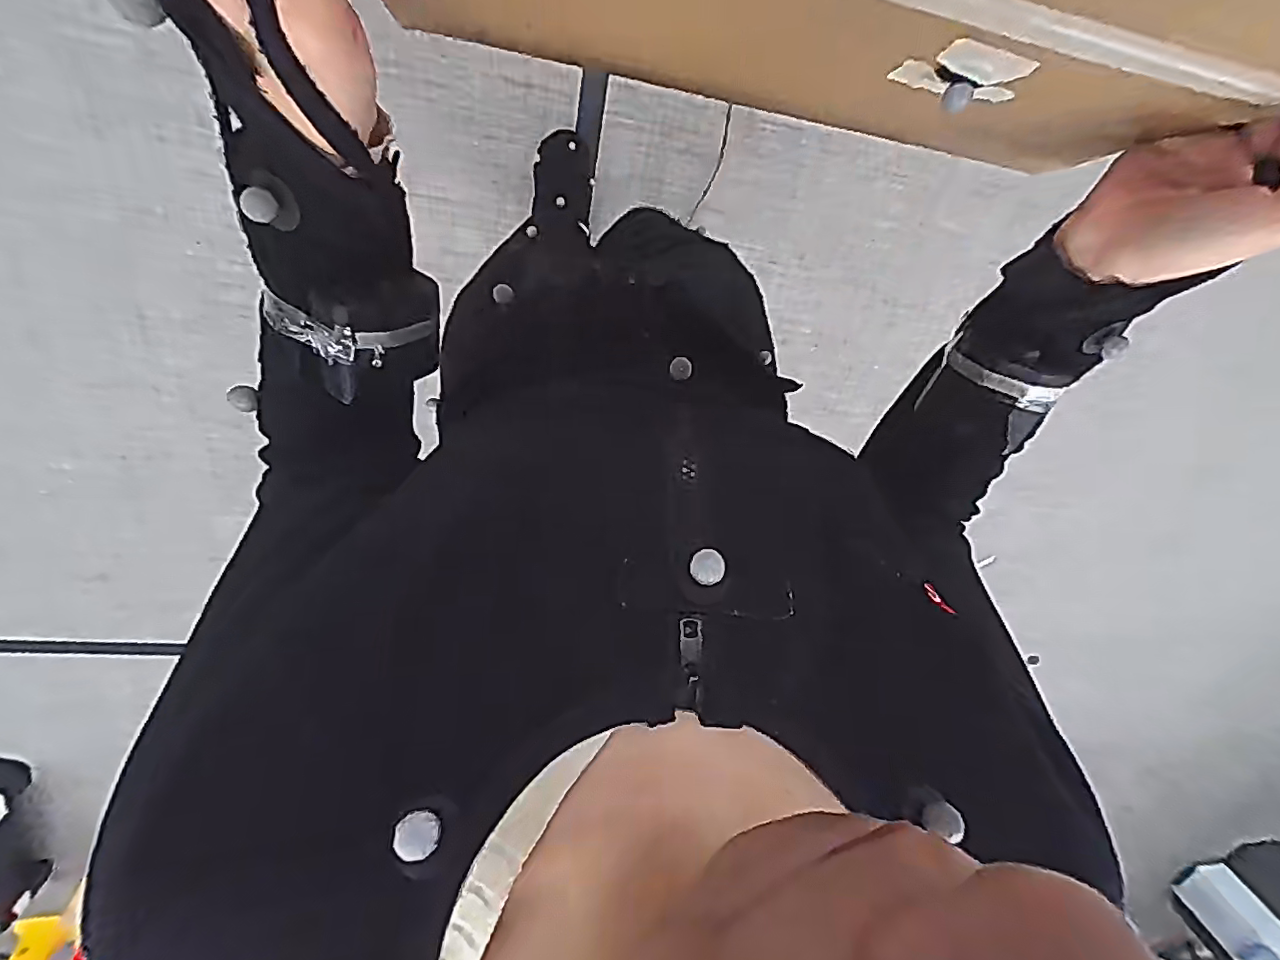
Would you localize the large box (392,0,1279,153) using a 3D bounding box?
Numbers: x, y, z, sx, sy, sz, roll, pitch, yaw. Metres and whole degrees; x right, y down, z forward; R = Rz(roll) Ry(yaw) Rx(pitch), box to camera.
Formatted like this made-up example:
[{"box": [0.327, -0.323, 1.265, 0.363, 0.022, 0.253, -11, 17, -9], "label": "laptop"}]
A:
[{"box": [0.103, -0.327, 0.141, 0.408, 0.320, 0.320, 5, 110, -10], "label": "large box"}]
